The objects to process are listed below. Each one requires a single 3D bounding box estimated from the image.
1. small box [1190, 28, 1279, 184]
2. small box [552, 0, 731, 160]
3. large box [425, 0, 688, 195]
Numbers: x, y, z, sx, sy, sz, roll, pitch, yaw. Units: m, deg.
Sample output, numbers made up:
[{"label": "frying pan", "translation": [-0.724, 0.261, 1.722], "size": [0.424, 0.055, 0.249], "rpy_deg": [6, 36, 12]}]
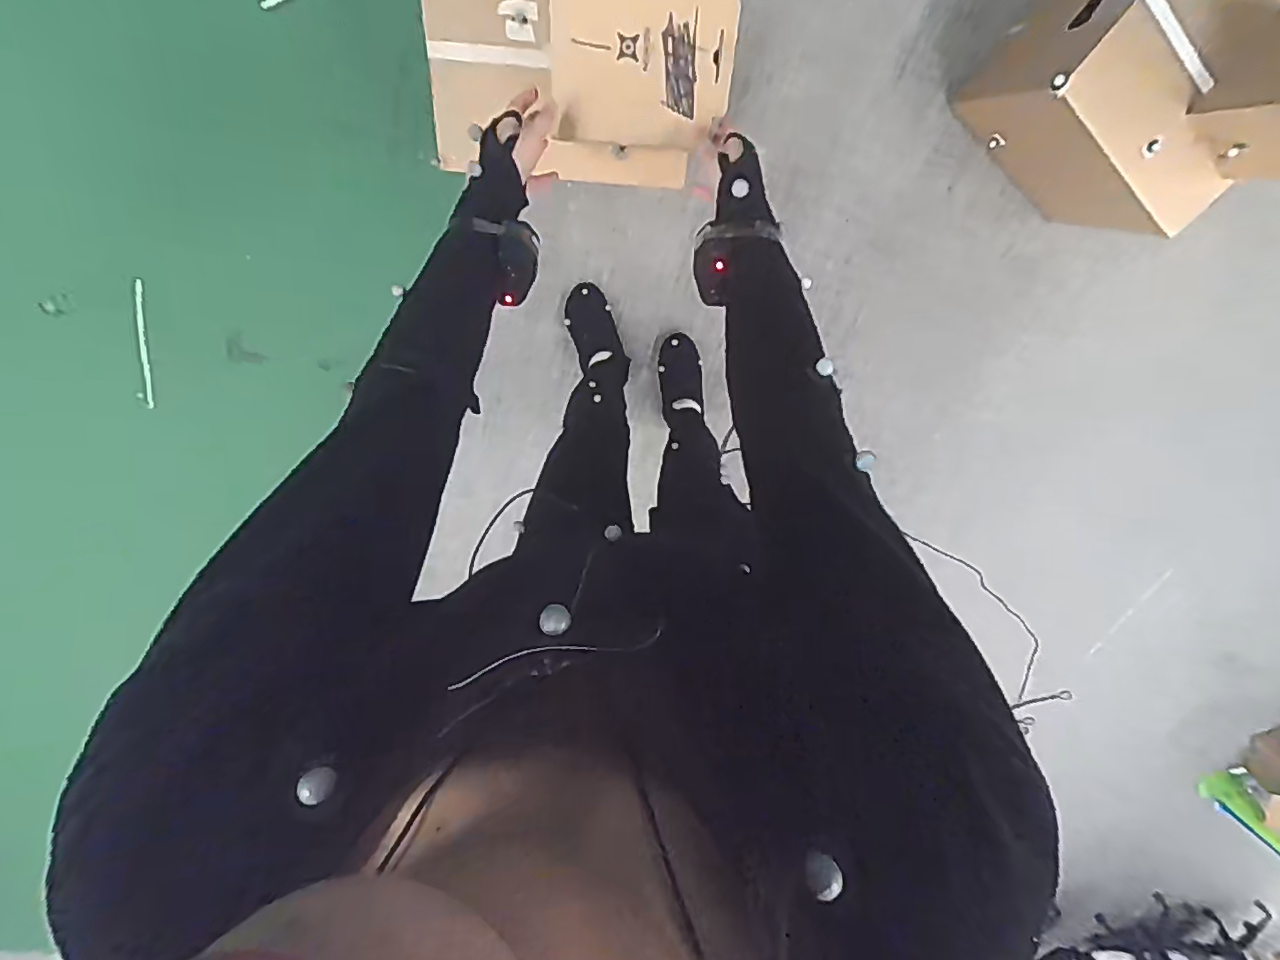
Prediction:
[{"label": "small box", "translation": [1.036, -0.589, 0.835], "size": [0.168, 0.176, 0.179], "rpy_deg": [31, 111, -21]}, {"label": "small box", "translation": [-0.007, -0.468, 0.615], "size": [0.179, 0.176, 0.168], "rpy_deg": [2, 120, -5]}, {"label": "large box", "translation": [-0.122, -0.693, 0.949], "size": [0.408, 0.320, 0.320], "rpy_deg": [2, 119, -5]}]
